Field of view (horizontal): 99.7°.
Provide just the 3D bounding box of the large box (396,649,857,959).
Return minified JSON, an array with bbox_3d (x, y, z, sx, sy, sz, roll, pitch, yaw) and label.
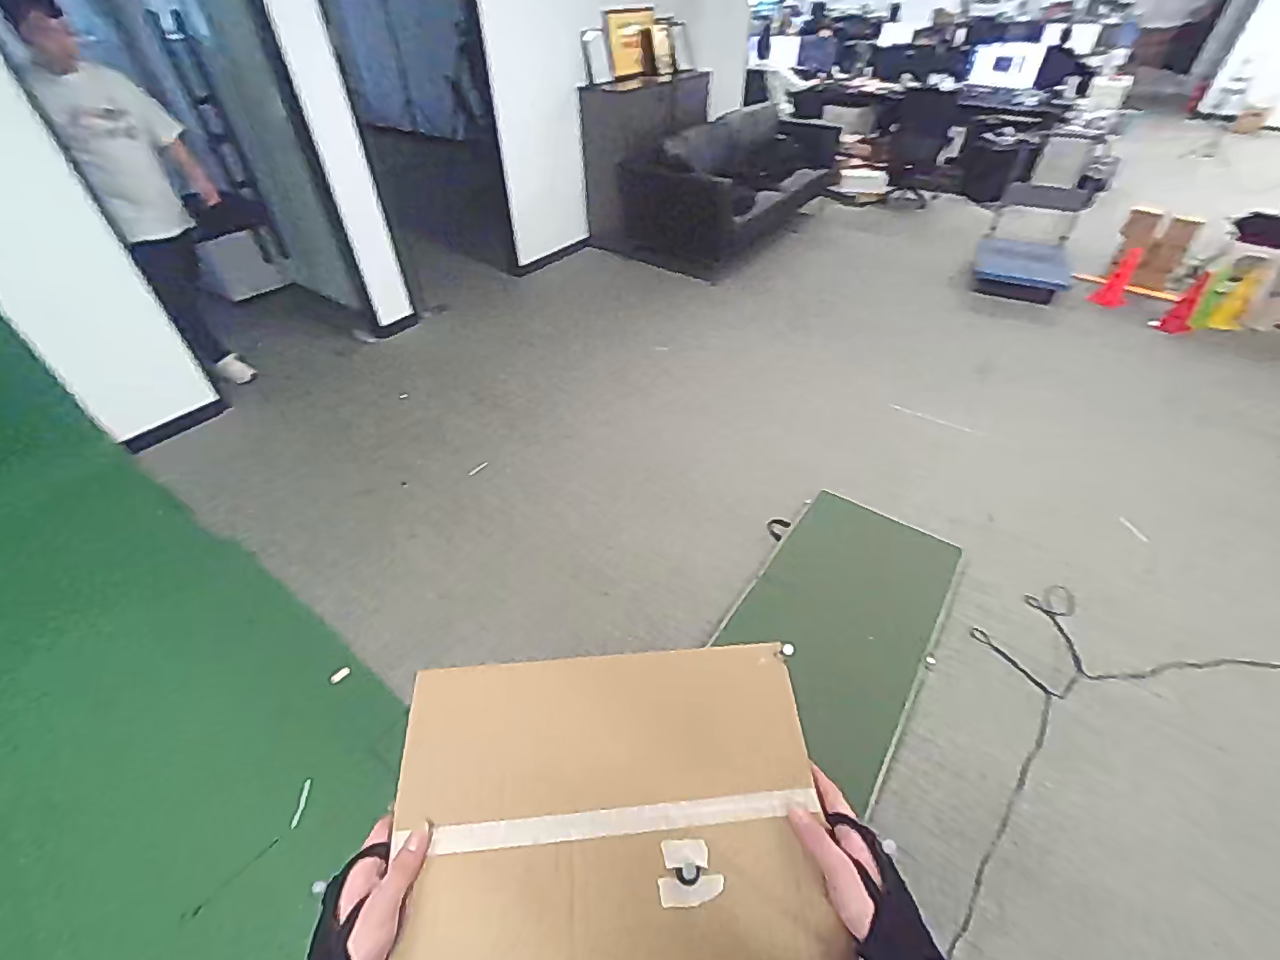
[{"bbox_3d":[-0.027,0.419,0.646,0.408,0.320,0.320,-2,55,-5],"label":"large box"}]
